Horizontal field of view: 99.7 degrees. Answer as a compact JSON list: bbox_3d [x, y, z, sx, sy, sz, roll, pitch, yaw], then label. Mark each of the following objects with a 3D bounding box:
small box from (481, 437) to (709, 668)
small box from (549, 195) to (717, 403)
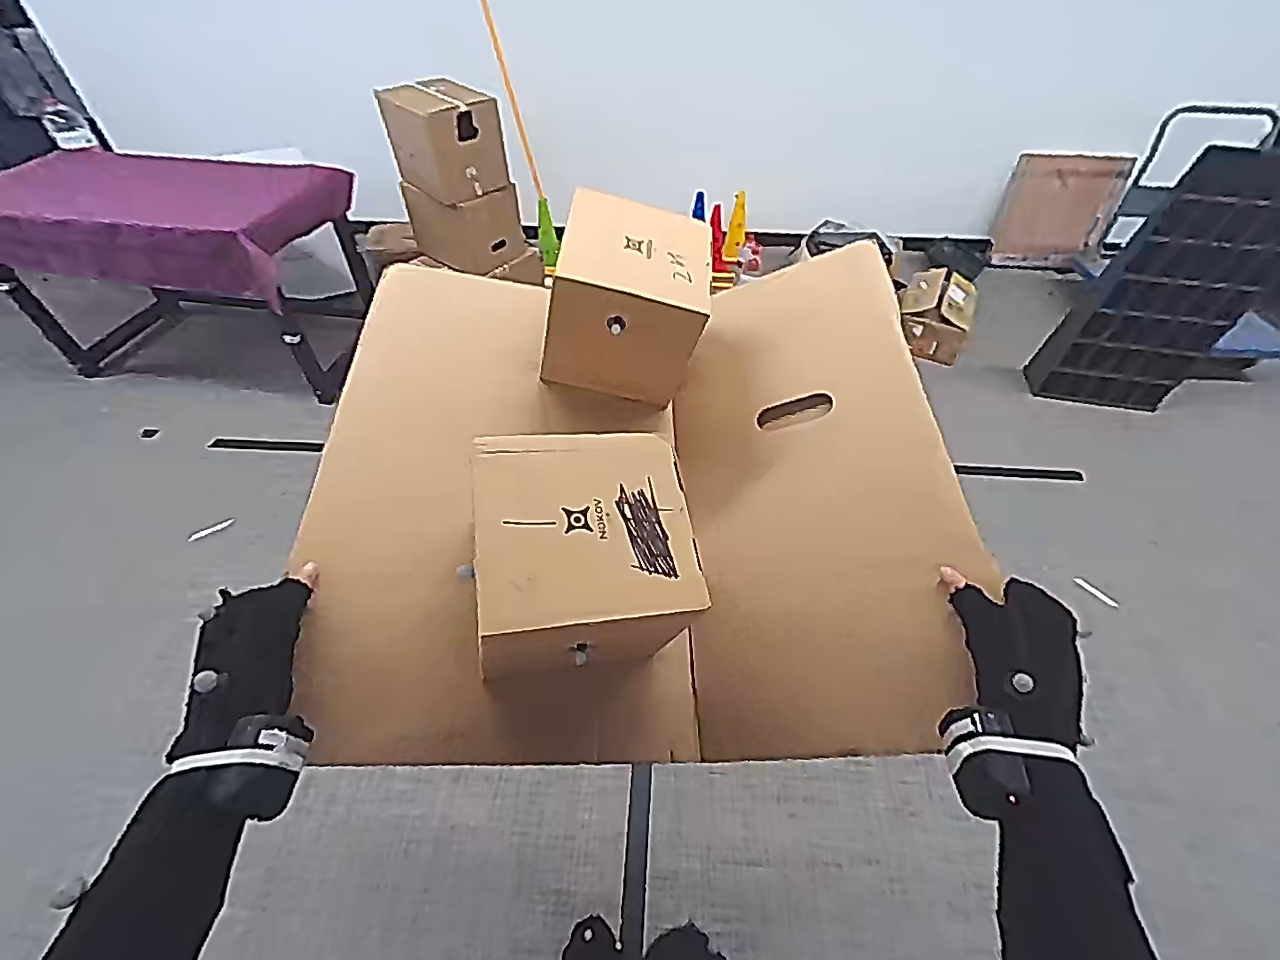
[{"bbox_3d":[-0.057,0.072,0.512,0.179,0.176,0.168,-2,62,-16],"label":"small box"},{"bbox_3d":[-0.013,-0.221,0.695,0.179,0.176,0.168,13,59,-10],"label":"small box"}]
